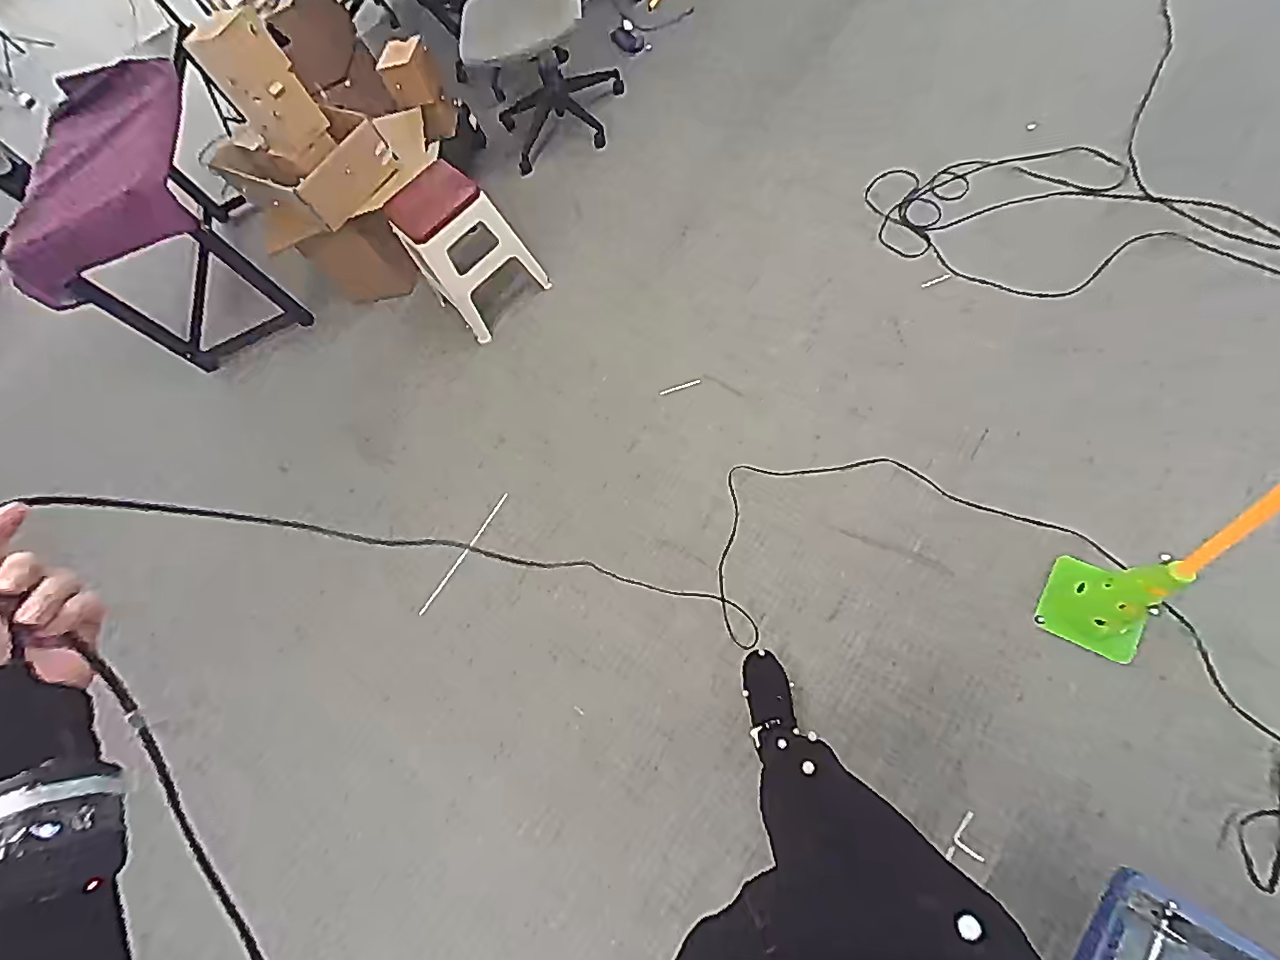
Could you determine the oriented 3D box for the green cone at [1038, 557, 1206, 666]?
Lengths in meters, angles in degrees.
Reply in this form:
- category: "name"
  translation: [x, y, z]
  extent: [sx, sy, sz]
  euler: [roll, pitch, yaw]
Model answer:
- category: "green cone"
  translation: [1.031, 0.236, 1.118]
  extent: [0.200, 0.368, 0.202]
  euler: [25, 74, 24]
